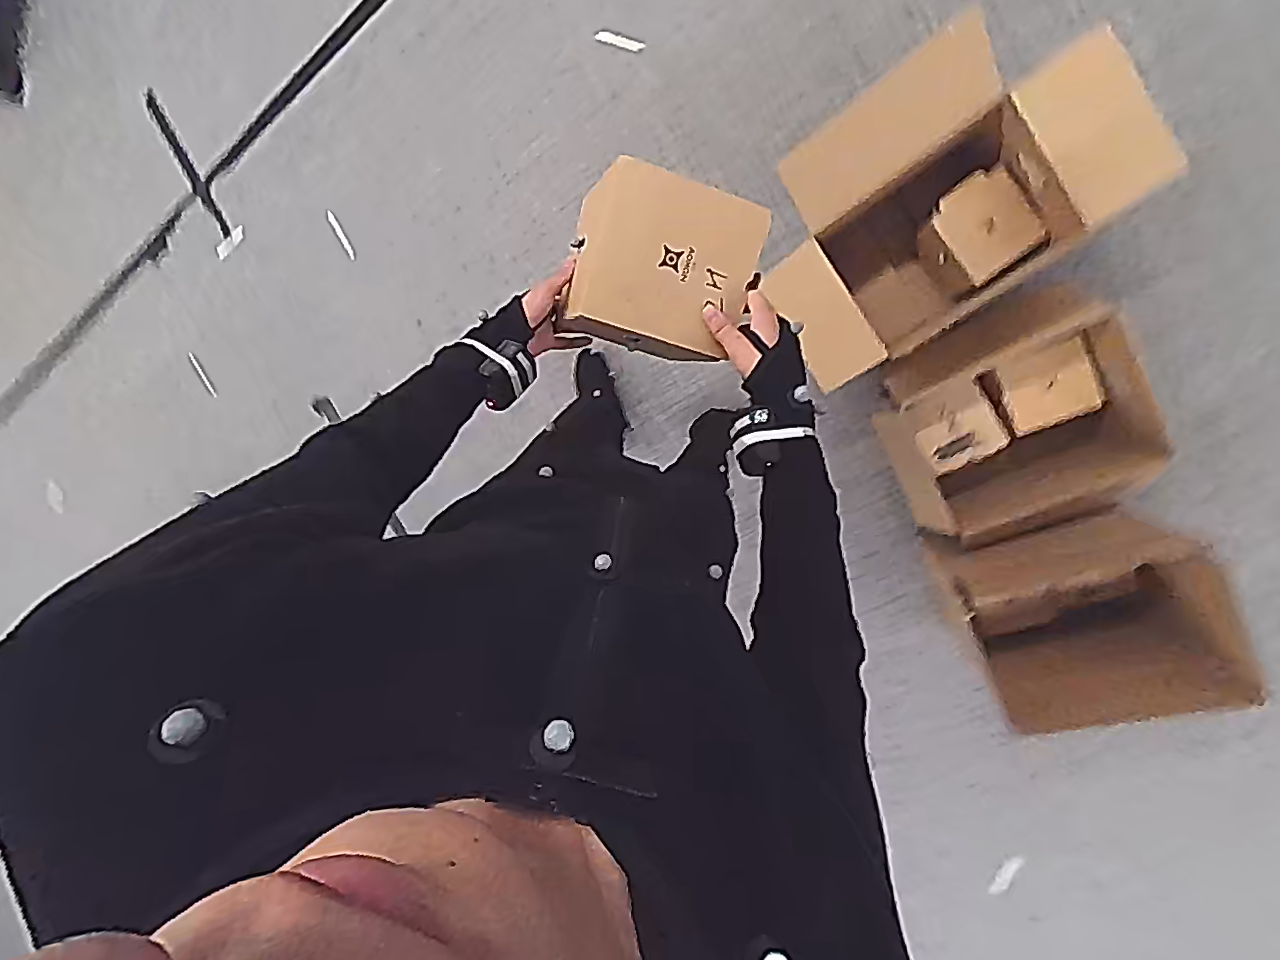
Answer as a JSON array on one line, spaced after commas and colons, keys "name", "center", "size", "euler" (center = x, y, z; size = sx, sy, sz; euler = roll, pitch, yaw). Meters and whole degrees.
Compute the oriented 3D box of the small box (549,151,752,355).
[{"name": "small box", "center": [-0.001, -0.252, 0.651], "size": [0.179, 0.176, 0.168], "euler": [12, 99, -21]}]
